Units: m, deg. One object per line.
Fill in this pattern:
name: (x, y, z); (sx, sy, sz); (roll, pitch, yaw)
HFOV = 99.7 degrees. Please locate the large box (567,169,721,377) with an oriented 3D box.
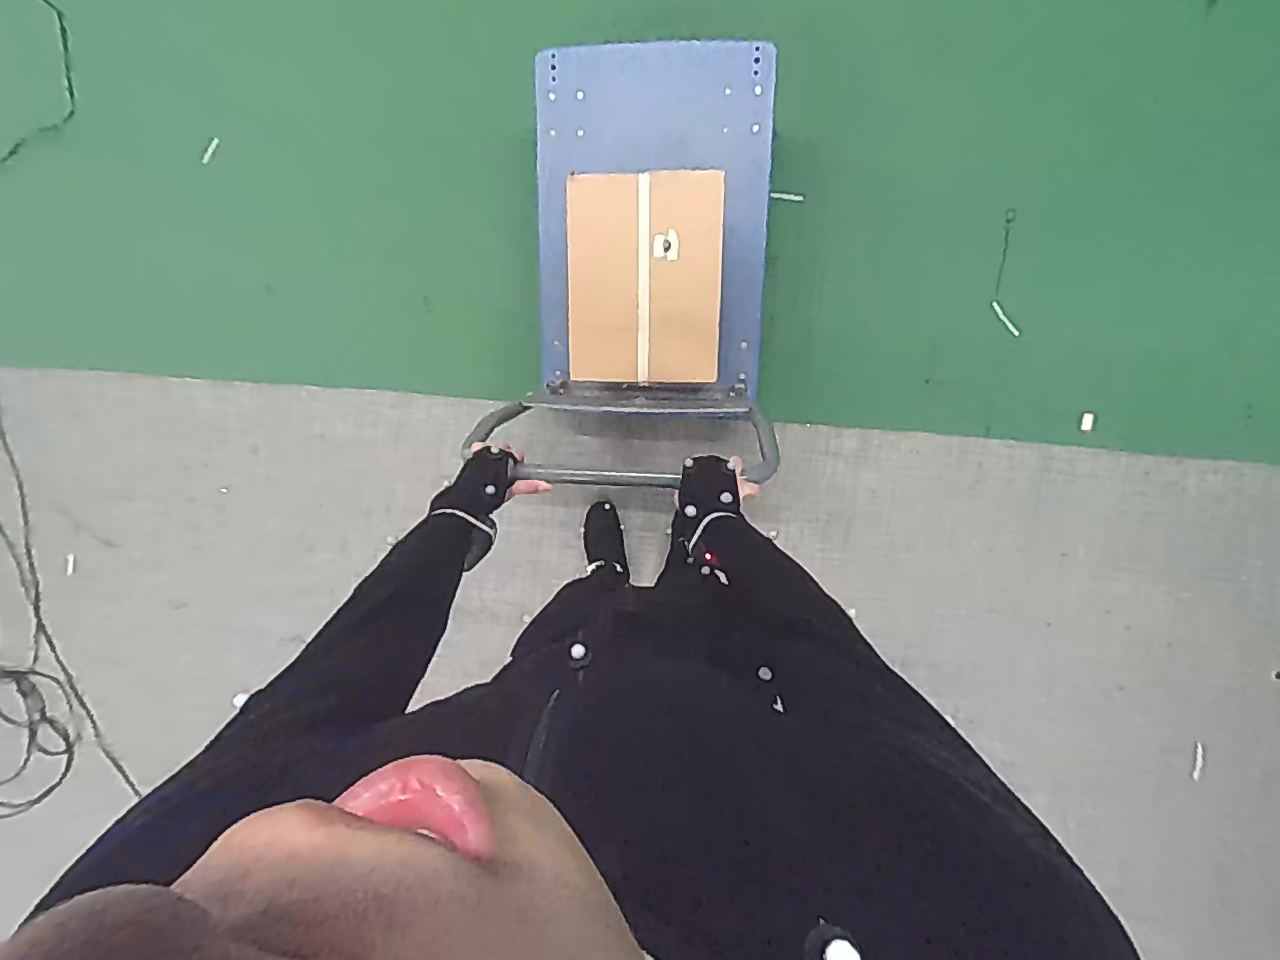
large box: (0.021, -0.443, 1.249); (0.320, 0.320, 0.408); (2, 102, 5)
